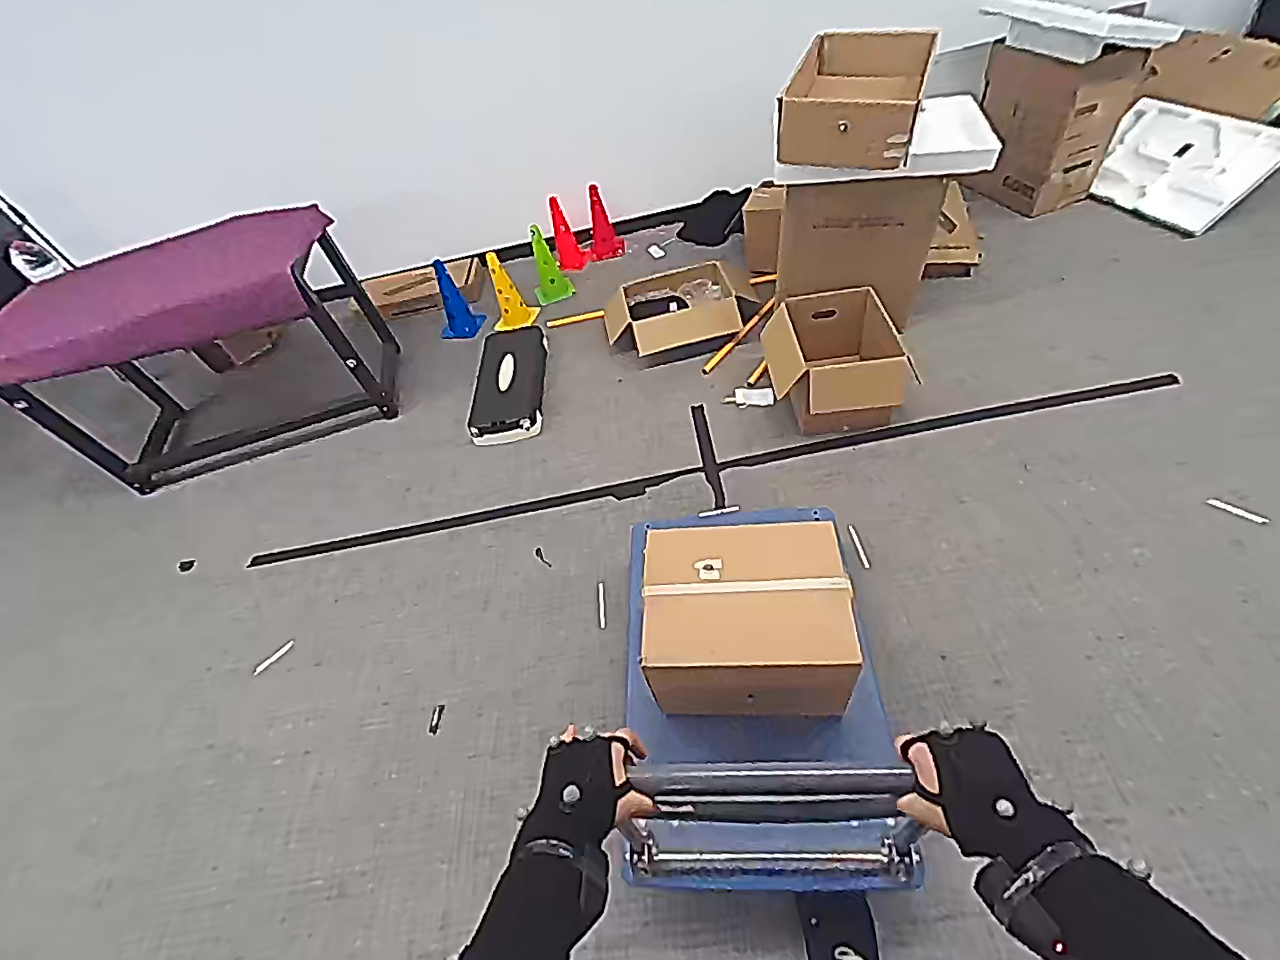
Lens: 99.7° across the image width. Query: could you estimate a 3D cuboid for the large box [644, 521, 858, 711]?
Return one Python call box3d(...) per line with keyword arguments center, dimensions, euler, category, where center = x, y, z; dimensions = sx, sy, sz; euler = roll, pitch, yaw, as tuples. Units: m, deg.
box3d(center=(0.236, 0.316, 1.218), dimensions=(0.408, 0.320, 0.320), euler=(-5, 49, 10), category="large box")
